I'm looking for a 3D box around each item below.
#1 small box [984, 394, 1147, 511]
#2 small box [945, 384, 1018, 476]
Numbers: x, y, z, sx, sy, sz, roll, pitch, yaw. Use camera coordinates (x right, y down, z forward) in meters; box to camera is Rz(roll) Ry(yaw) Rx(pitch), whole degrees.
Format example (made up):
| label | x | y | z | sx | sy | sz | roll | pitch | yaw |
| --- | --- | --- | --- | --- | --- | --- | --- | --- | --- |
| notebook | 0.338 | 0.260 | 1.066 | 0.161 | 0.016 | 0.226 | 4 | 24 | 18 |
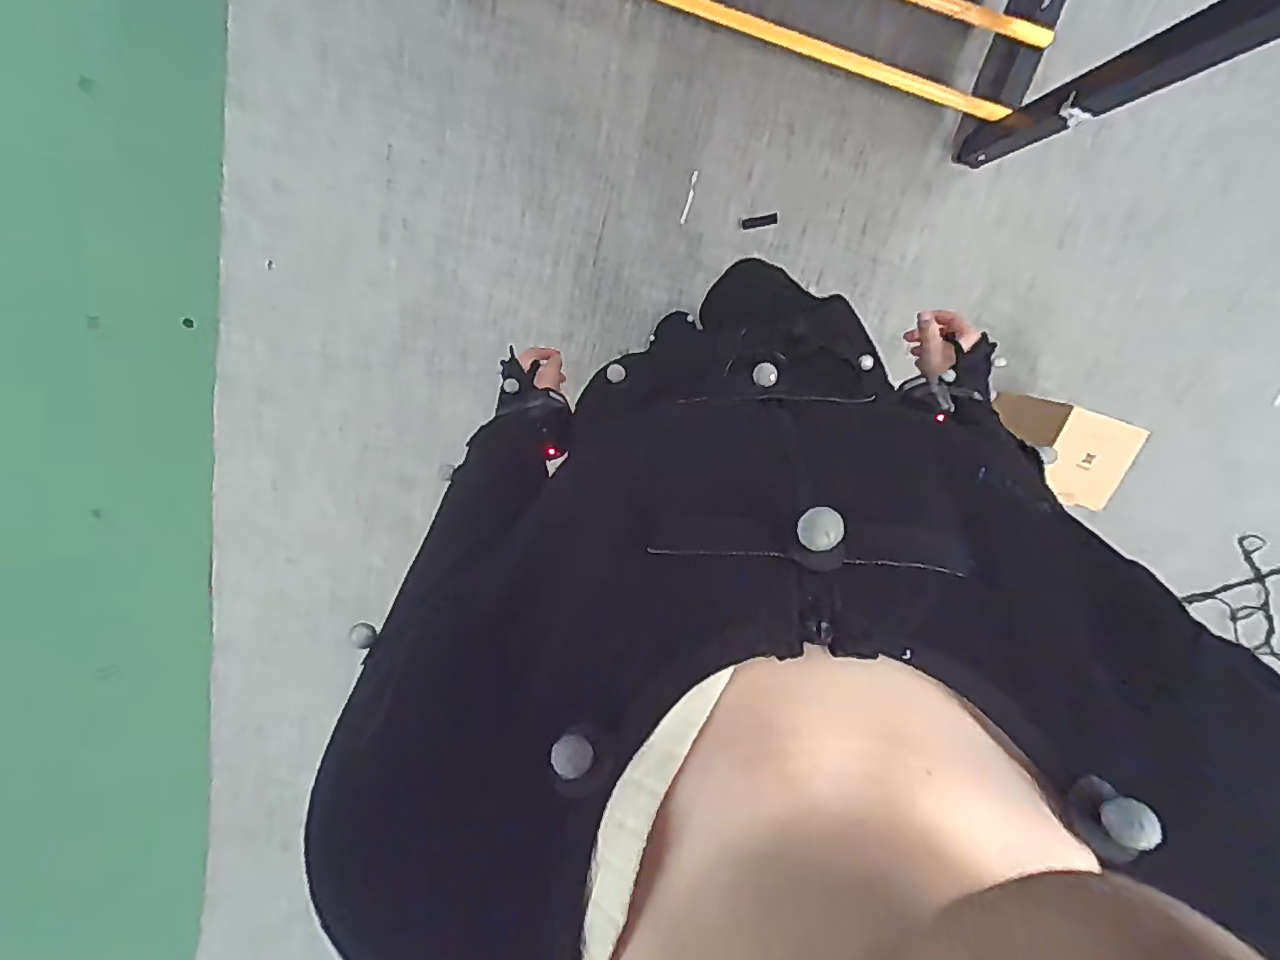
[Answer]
| label | x | y | z | sx | sy | sz | roll | pitch | yaw |
| --- | --- | --- | --- | --- | --- | --- | --- | --- | --- |
| small box | 0.850 | -0.062 | 1.105 | 0.168 | 0.176 | 0.179 | 16 | 106 | -6 |
| small box | 0.852 | -0.107 | 1.261 | 0.168 | 0.176 | 0.179 | 18 | 108 | -6 |
